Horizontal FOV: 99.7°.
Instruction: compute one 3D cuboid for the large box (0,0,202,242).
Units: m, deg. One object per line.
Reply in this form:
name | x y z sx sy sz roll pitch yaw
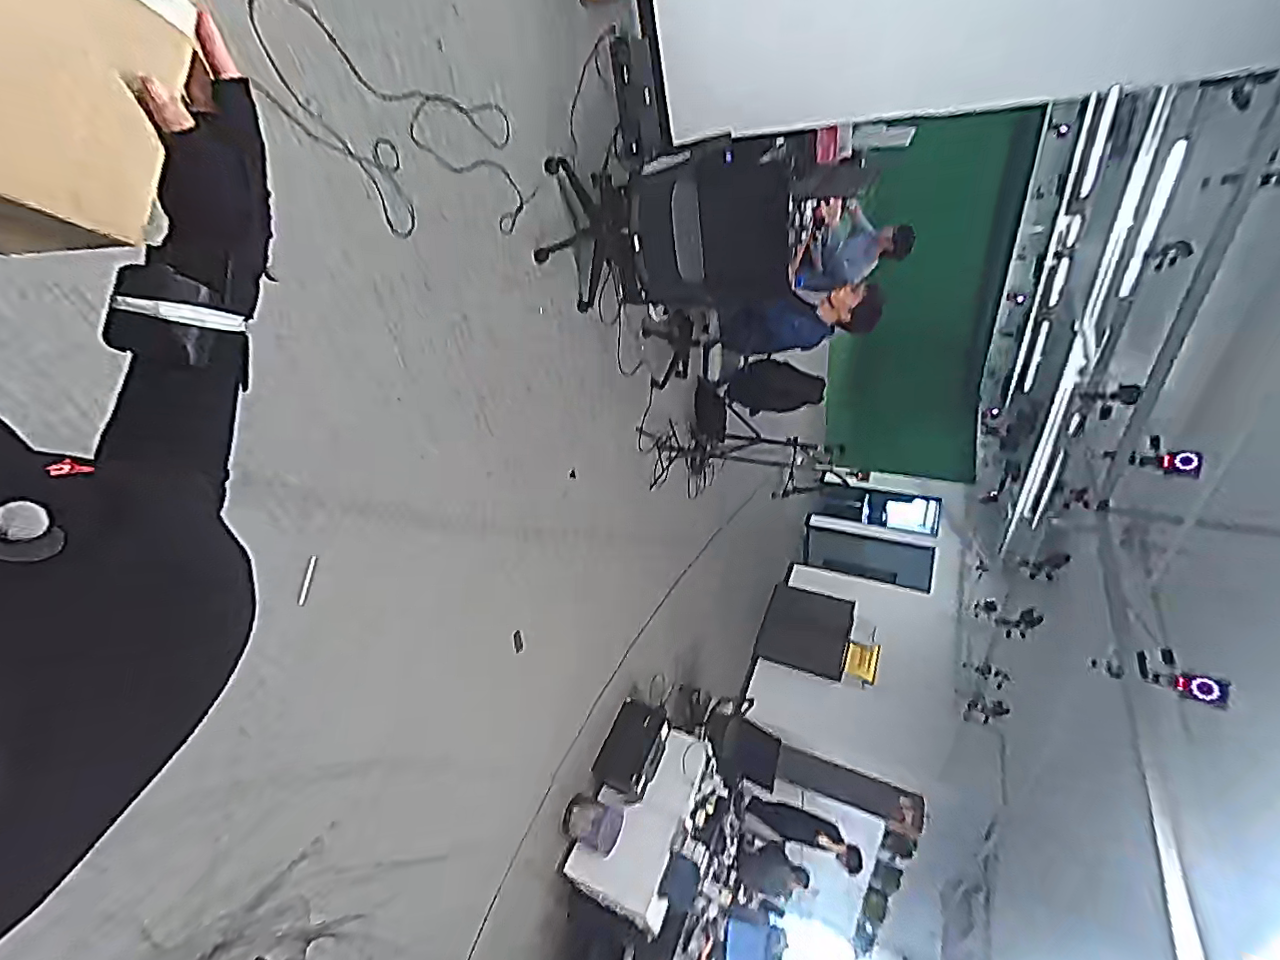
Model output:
large box | -0.533 -0.366 0.275 0.408 0.320 0.320 15 88 -62
